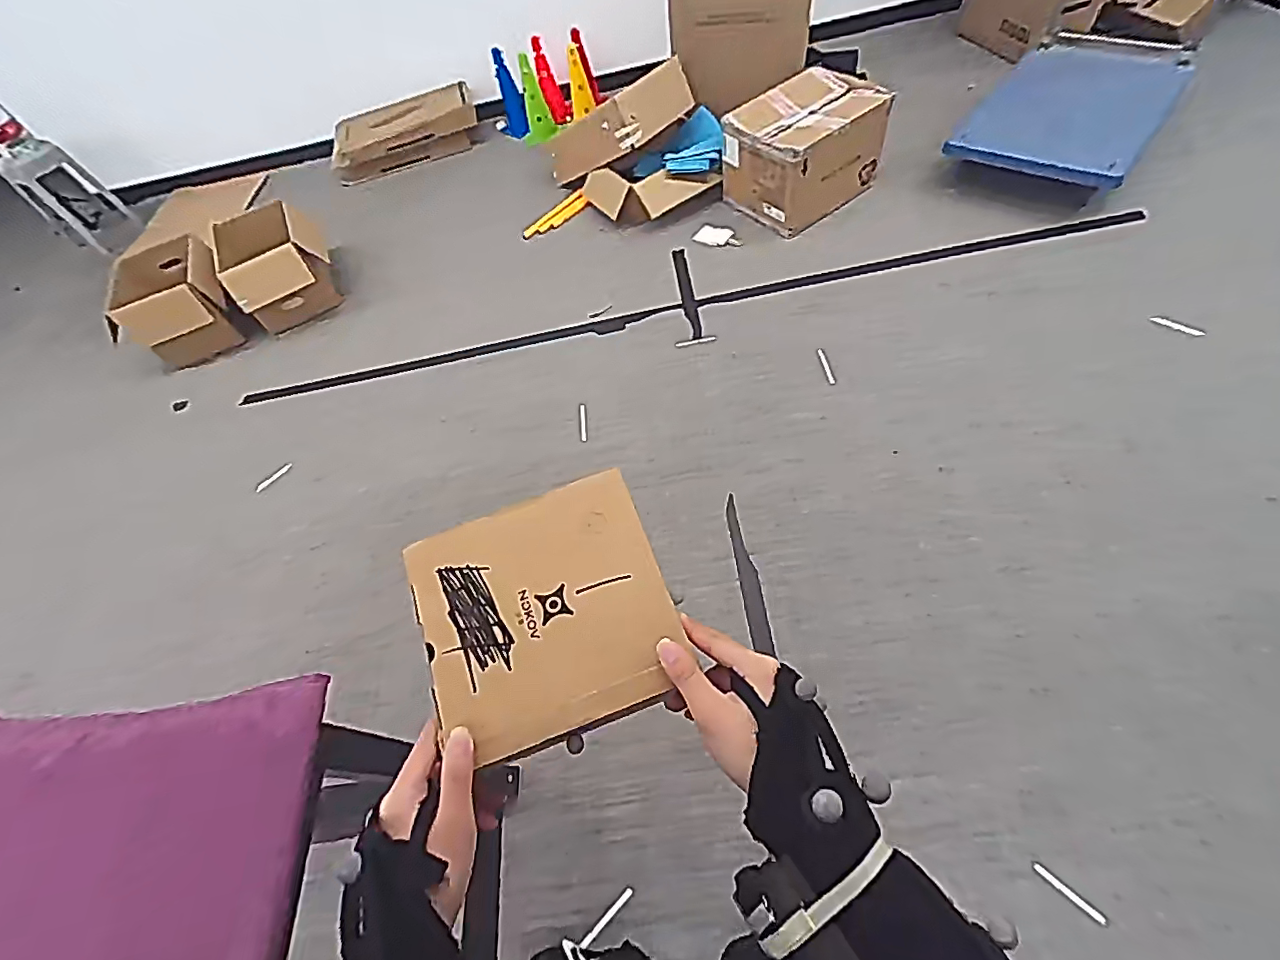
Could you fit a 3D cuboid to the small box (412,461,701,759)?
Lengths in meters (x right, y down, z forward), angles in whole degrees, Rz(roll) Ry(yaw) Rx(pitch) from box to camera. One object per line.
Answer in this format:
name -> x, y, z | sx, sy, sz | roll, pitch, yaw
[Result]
small box -> -0.058, 0.114, 0.454 | 0.179, 0.176, 0.168 | -21, 67, -4
